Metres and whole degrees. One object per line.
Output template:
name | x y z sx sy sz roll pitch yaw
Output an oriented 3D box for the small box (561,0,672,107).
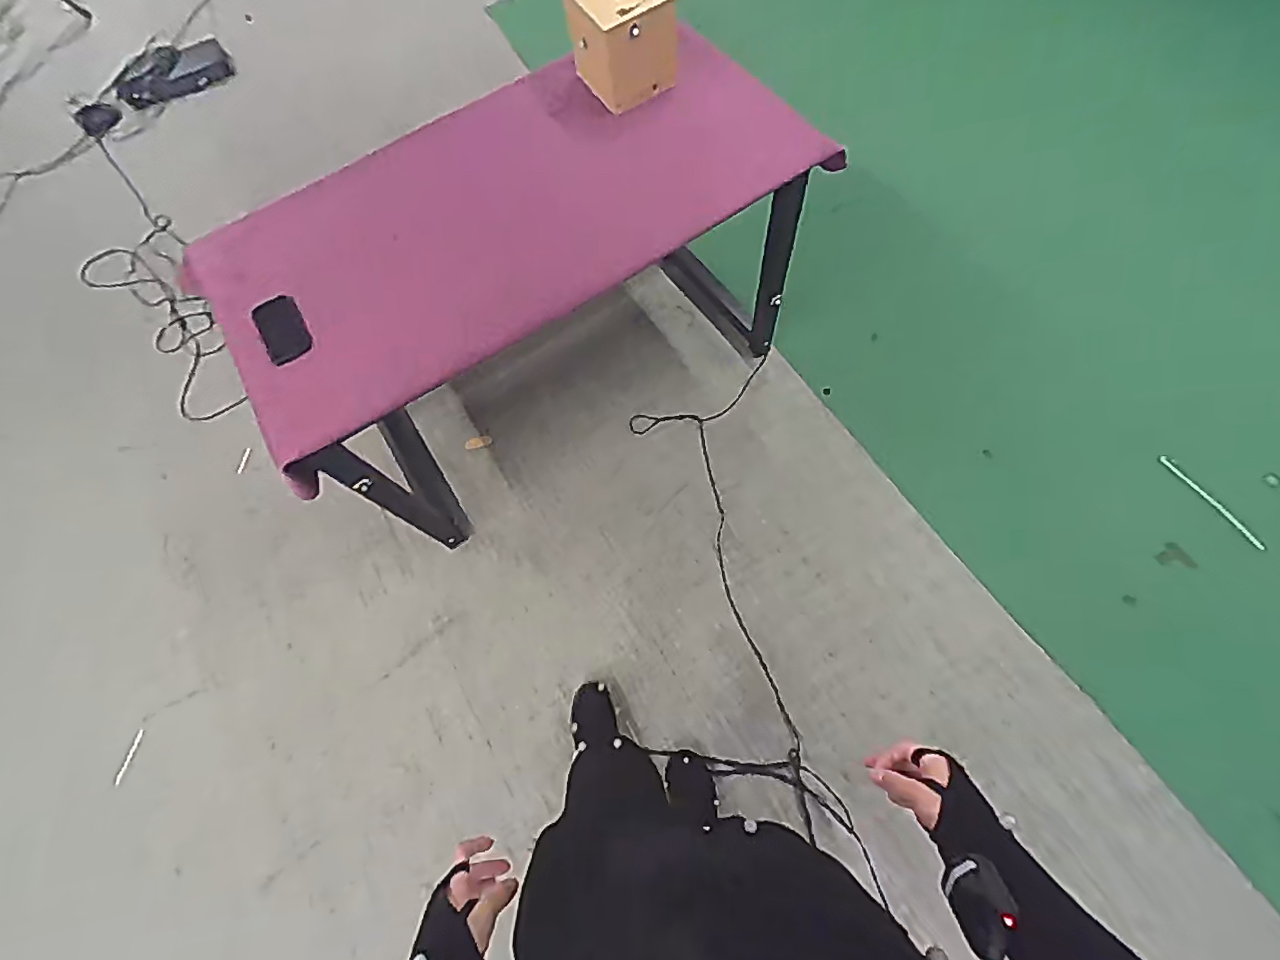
small box | -0.047 -0.930 1.126 0.168 0.176 0.179 -32 69 -5
